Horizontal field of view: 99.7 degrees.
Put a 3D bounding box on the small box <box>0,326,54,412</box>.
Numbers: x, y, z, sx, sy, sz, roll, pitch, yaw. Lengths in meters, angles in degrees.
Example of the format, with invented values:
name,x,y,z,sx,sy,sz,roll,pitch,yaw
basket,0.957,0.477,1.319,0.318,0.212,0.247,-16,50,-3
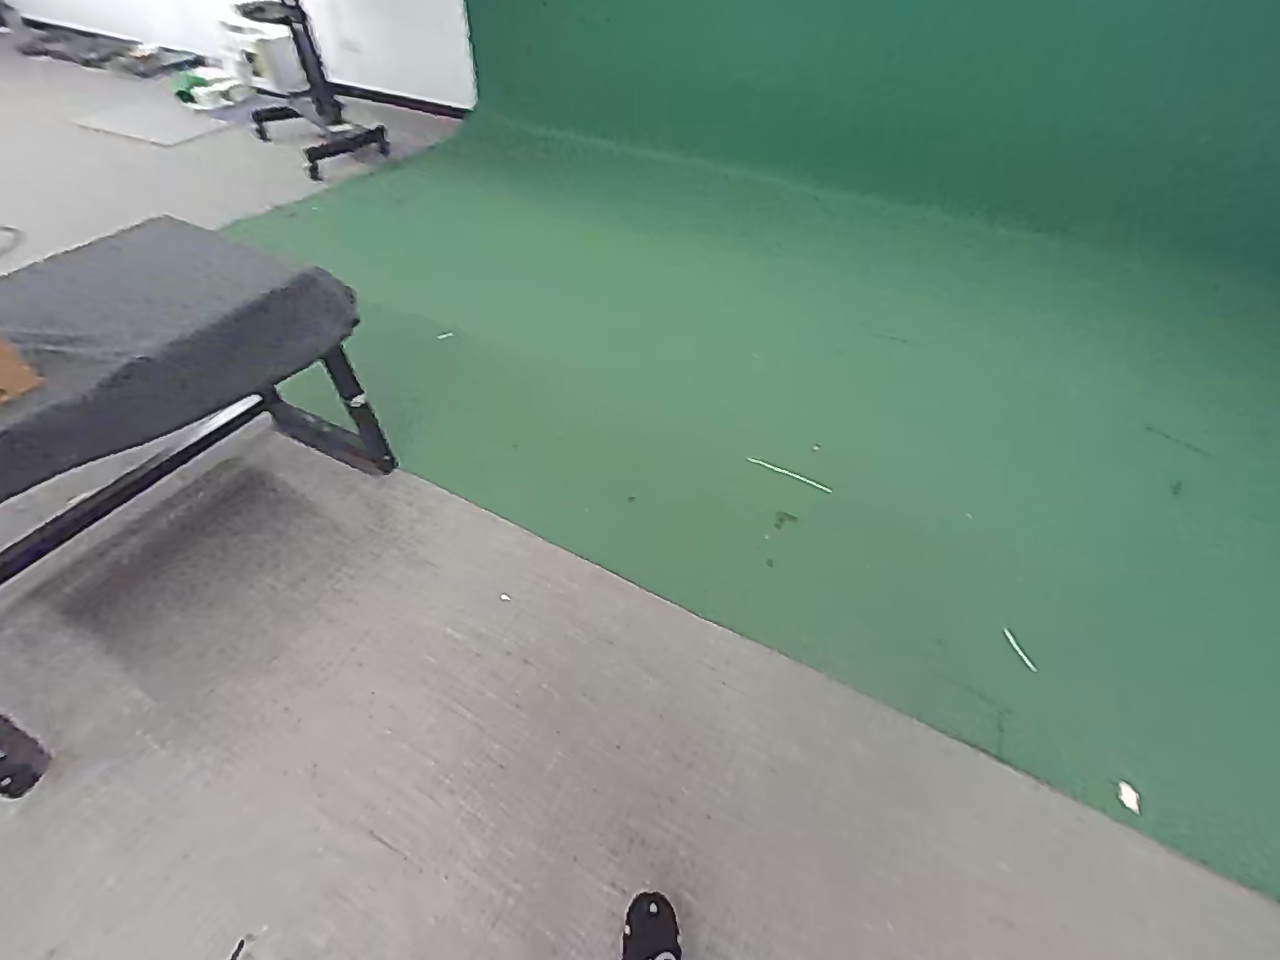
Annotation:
name,x,y,z,sx,sy,sz,roll,pitch,yaw
small box,-1.254,-0.219,0.981,0.179,0.176,0.168,21,52,15
